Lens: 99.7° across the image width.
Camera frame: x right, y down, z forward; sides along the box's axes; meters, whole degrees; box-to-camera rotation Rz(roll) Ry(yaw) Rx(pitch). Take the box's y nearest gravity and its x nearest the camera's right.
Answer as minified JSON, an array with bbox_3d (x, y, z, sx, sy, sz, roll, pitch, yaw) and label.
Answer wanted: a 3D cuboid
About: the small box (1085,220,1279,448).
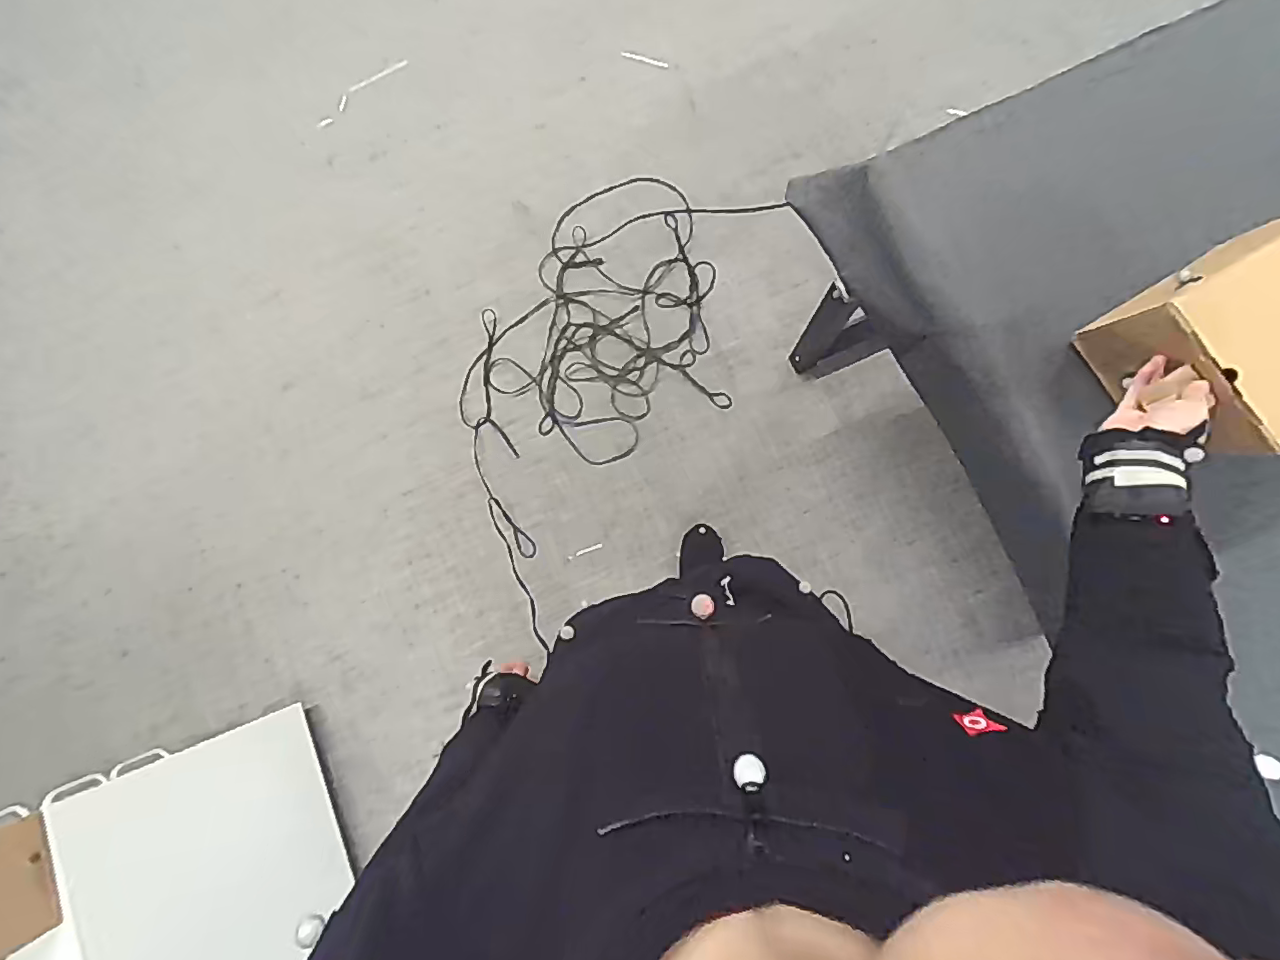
[{"bbox_3d":[0.609,-0.146,0.533,0.179,0.176,0.168,-35,84,14],"label":"small box"}]
